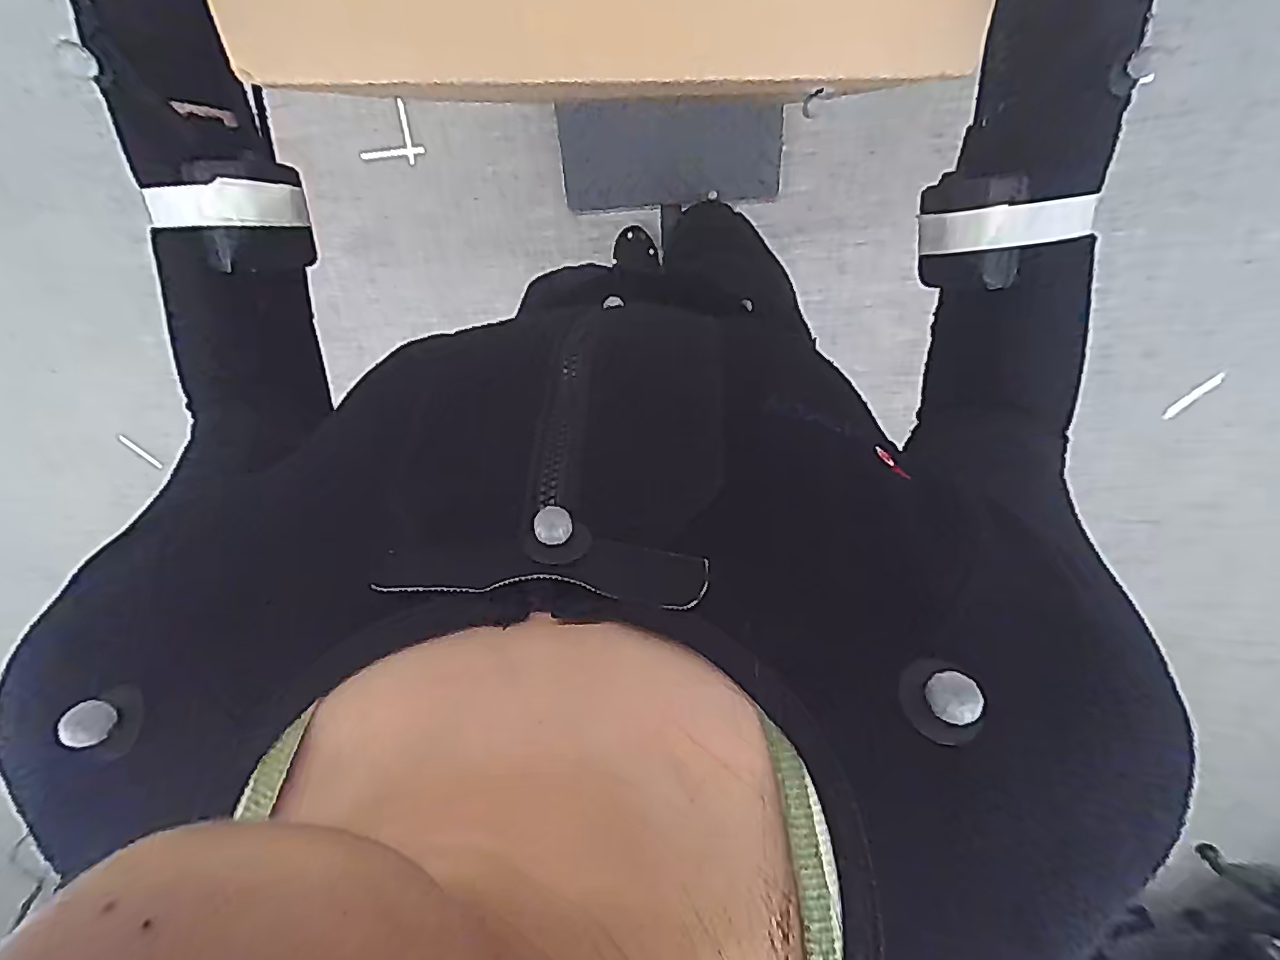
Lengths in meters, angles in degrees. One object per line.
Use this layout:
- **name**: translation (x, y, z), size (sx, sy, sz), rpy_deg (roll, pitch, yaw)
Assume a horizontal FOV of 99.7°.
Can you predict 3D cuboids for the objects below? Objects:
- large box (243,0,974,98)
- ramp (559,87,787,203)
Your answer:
- **large box**: translation (-0.017, -0.441, 0.348), size (0.408, 0.320, 0.320), rpy_deg (0, 123, 1)
- **ramp**: translation (0.047, -1.073, 0.981), size (0.509, 0.206, 0.991), rpy_deg (-4, 115, 5)
